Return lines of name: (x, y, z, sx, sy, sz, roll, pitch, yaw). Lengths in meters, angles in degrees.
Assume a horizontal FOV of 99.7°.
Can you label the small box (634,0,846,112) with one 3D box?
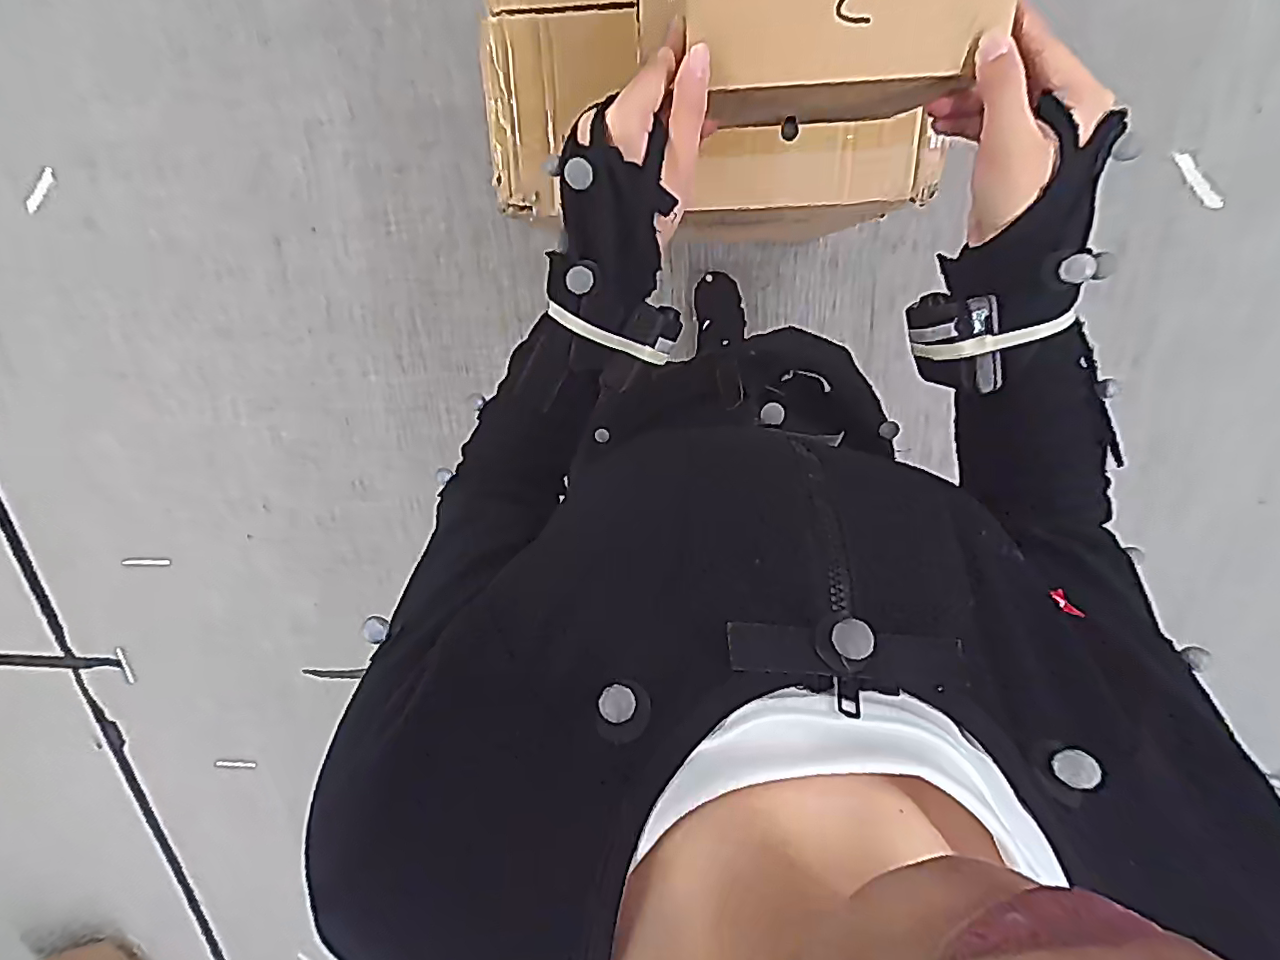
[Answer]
small box: (0.088, -0.464, 0.506, 0.179, 0.176, 0.168, 0, 110, 4)
